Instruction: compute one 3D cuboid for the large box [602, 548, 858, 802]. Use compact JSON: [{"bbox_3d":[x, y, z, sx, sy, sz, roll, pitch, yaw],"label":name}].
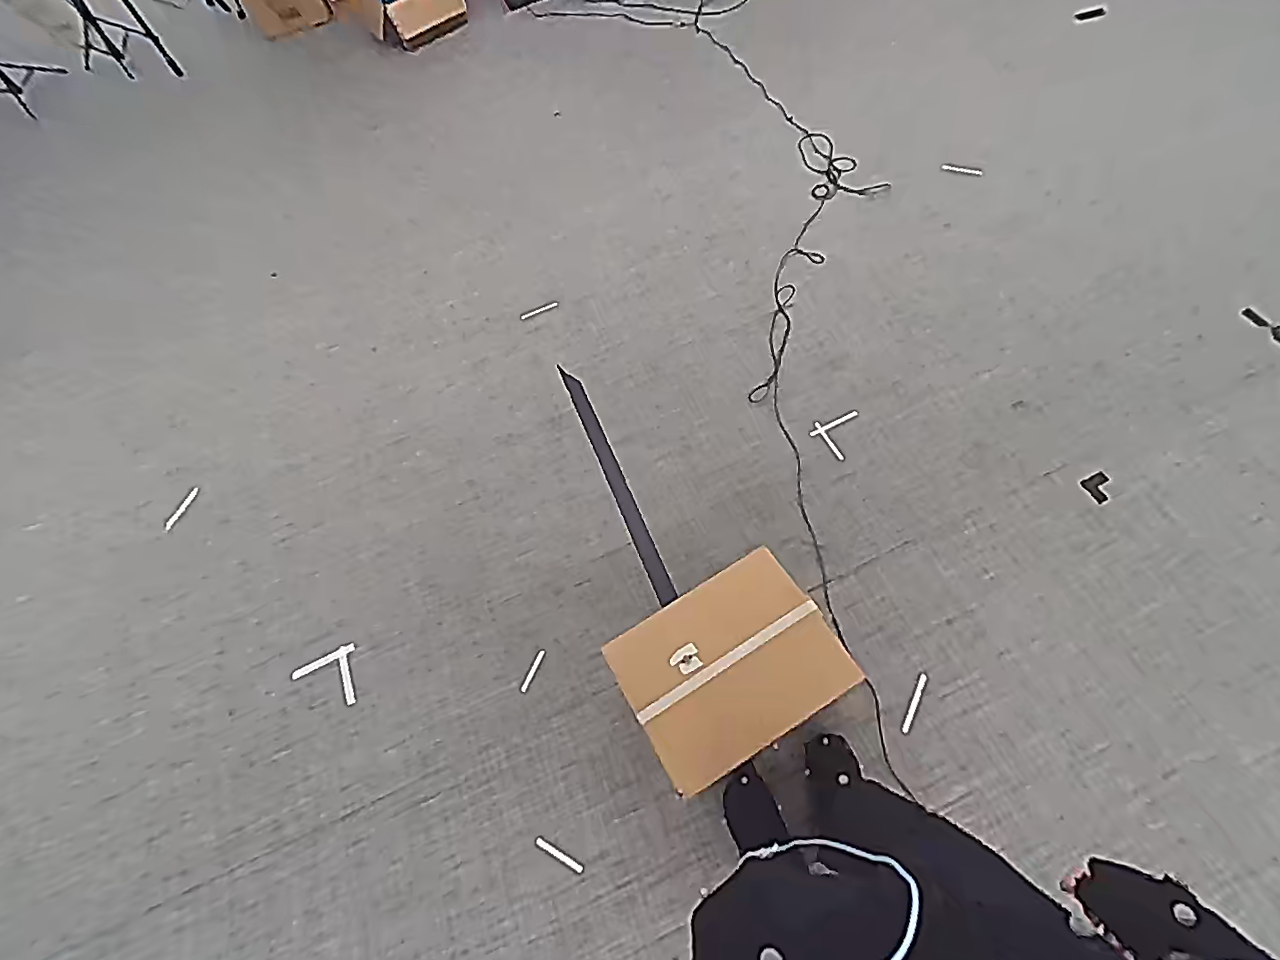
[{"bbox_3d":[0.188,0.417,1.171,0.408,0.320,0.320,-32,62,-6],"label":"large box"}]
